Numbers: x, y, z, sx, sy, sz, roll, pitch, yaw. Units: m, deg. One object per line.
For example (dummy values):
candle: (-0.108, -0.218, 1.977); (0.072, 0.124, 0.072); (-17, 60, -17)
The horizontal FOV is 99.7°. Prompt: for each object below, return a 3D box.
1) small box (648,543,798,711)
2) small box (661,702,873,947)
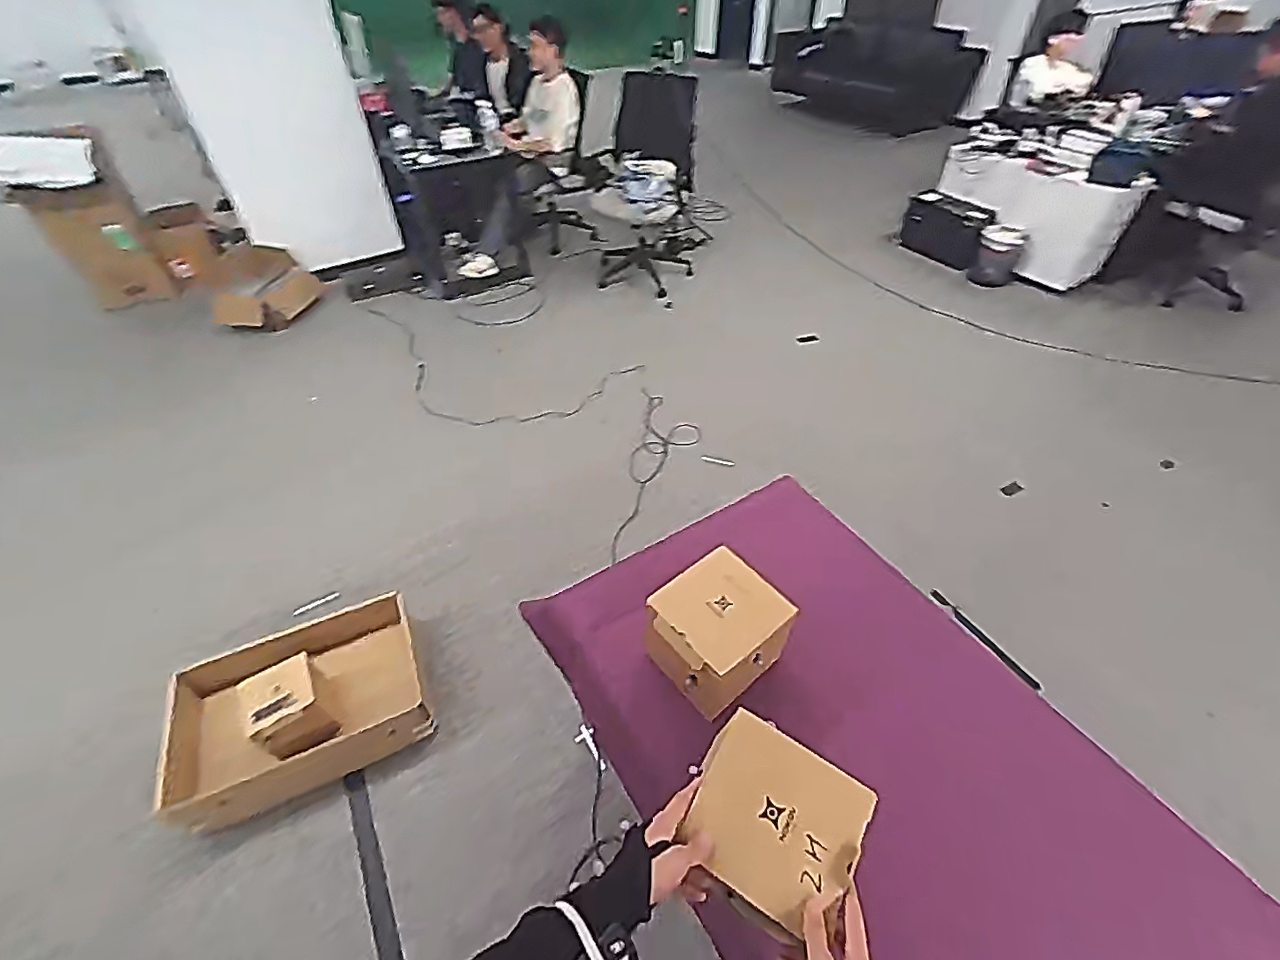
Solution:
small box: (0.131, 0.245, 0.897); (0.179, 0.176, 0.168); (-30, 54, -26)
small box: (0.139, 0.404, 0.648); (0.179, 0.176, 0.168); (29, 59, 15)
